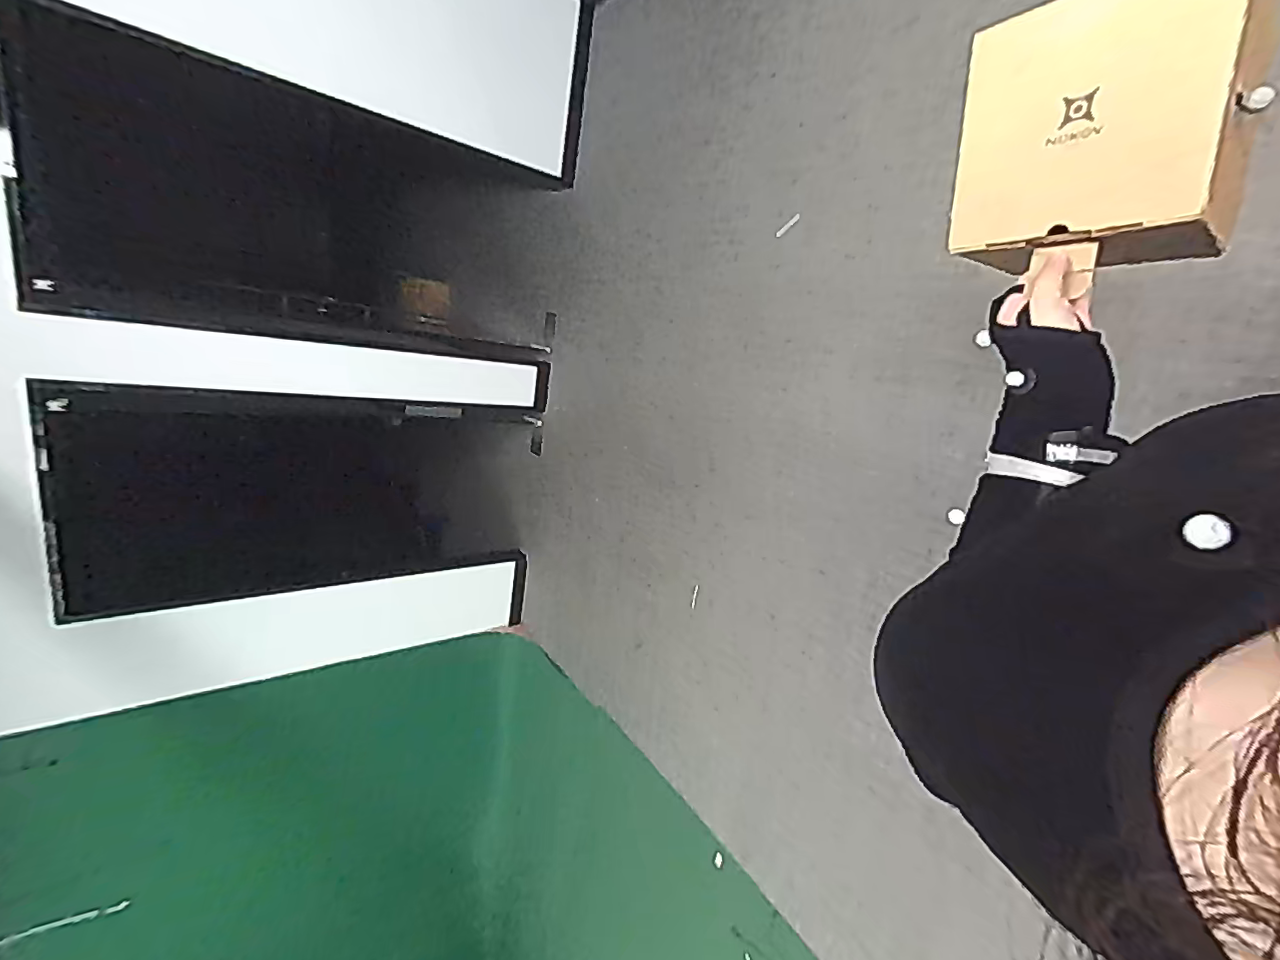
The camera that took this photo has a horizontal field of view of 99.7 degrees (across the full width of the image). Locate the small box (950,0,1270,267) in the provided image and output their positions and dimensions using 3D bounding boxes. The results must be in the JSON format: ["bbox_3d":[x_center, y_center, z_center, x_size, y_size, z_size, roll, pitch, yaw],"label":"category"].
[{"bbox_3d":[0.397,-0.293,0.464,0.168,0.176,0.179,16,110,48],"label":"small box"}]
